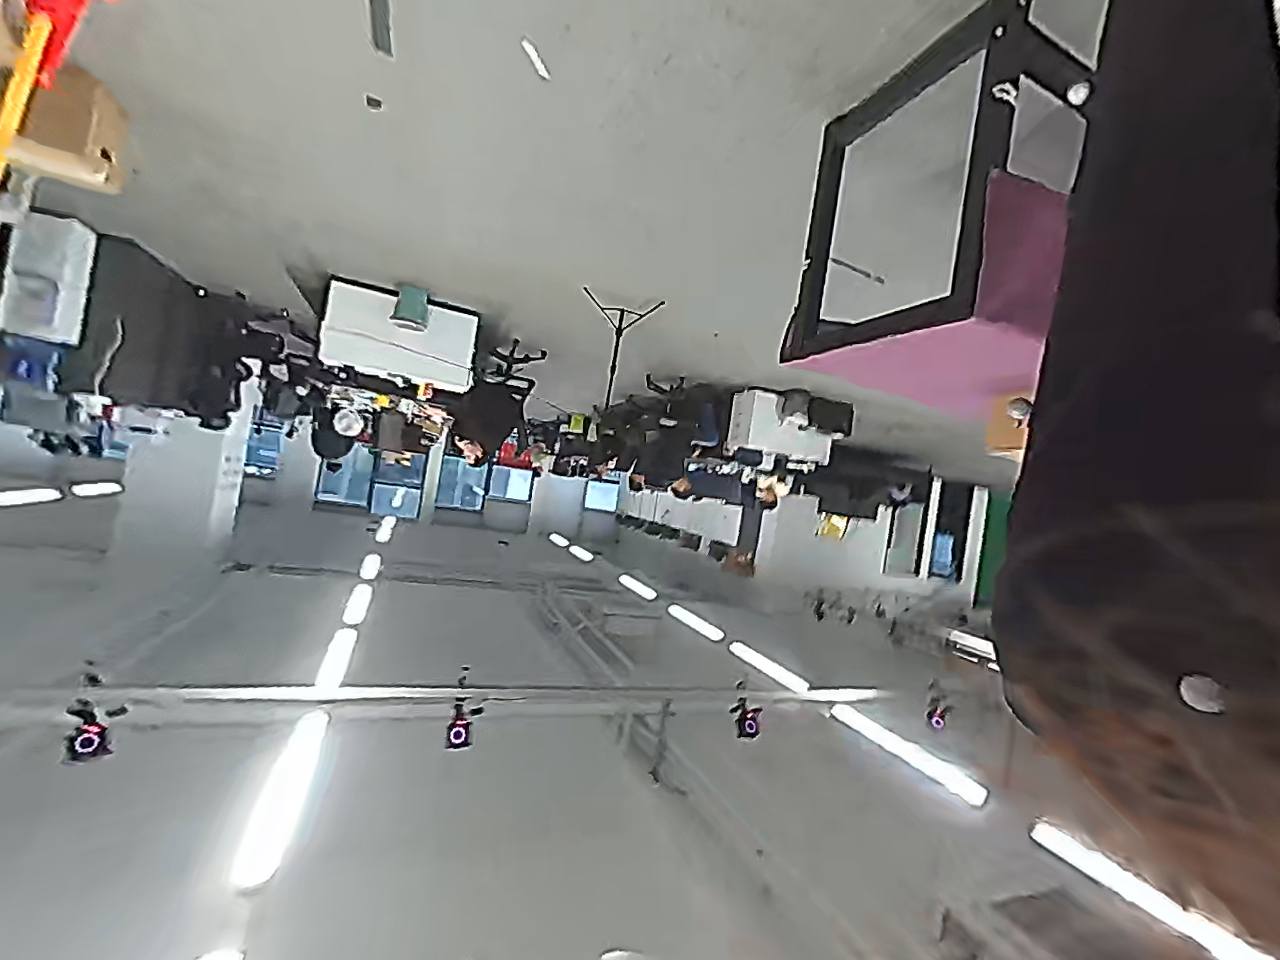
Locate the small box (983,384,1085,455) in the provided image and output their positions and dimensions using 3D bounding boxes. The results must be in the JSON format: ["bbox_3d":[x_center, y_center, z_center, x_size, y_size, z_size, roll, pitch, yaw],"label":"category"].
[{"bbox_3d":[1.143,-0.171,1.566,0.168,0.176,0.179,8,178,-20],"label":"small box"}]
